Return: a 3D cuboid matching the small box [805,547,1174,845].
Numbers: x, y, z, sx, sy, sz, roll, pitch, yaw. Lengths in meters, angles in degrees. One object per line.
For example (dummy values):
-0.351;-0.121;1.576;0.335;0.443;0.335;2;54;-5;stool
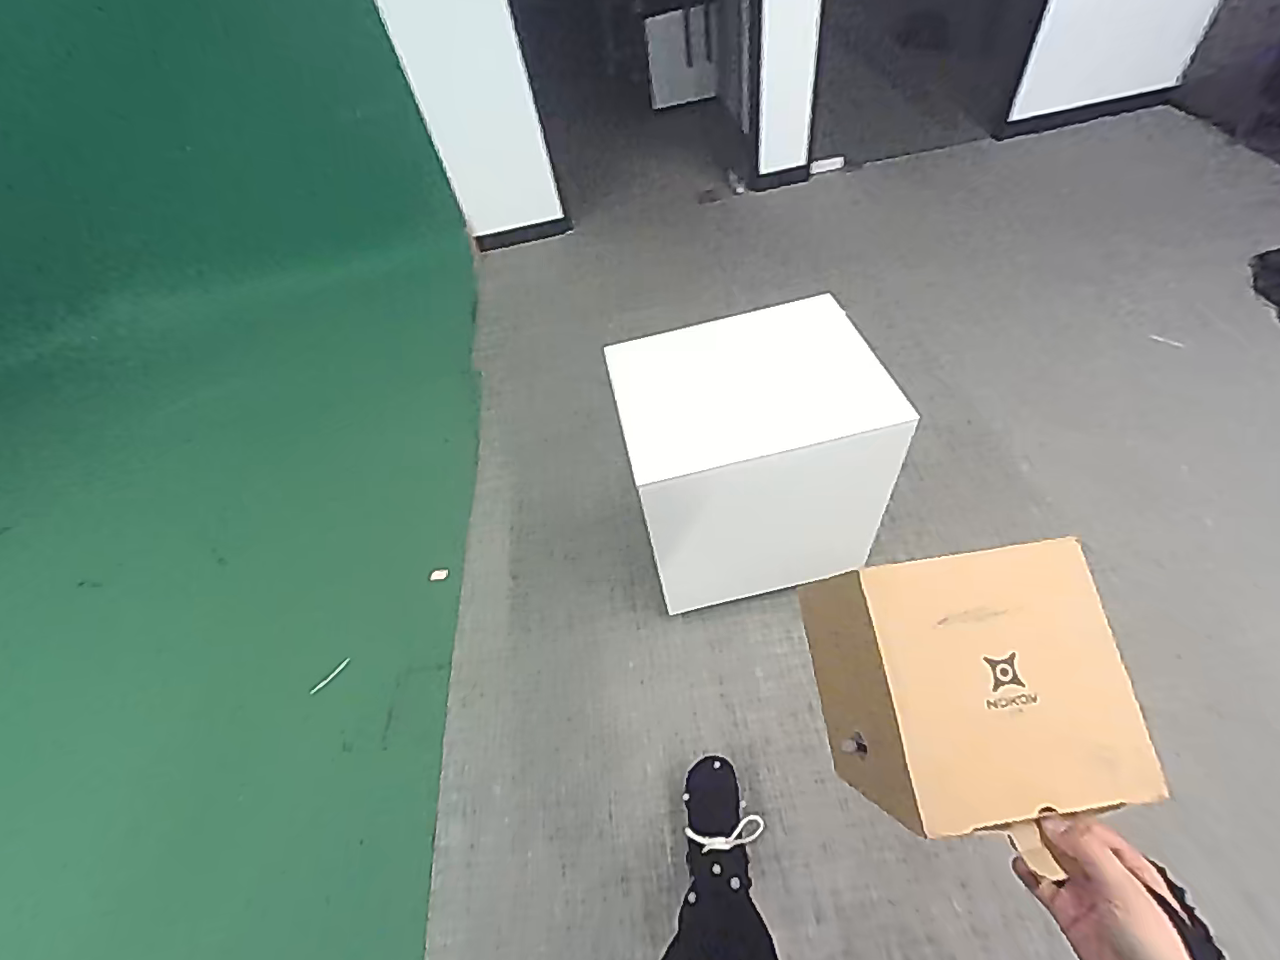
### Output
0.252;0.162;0.444;0.168;0.176;0.179;-8;73;-2;small box
